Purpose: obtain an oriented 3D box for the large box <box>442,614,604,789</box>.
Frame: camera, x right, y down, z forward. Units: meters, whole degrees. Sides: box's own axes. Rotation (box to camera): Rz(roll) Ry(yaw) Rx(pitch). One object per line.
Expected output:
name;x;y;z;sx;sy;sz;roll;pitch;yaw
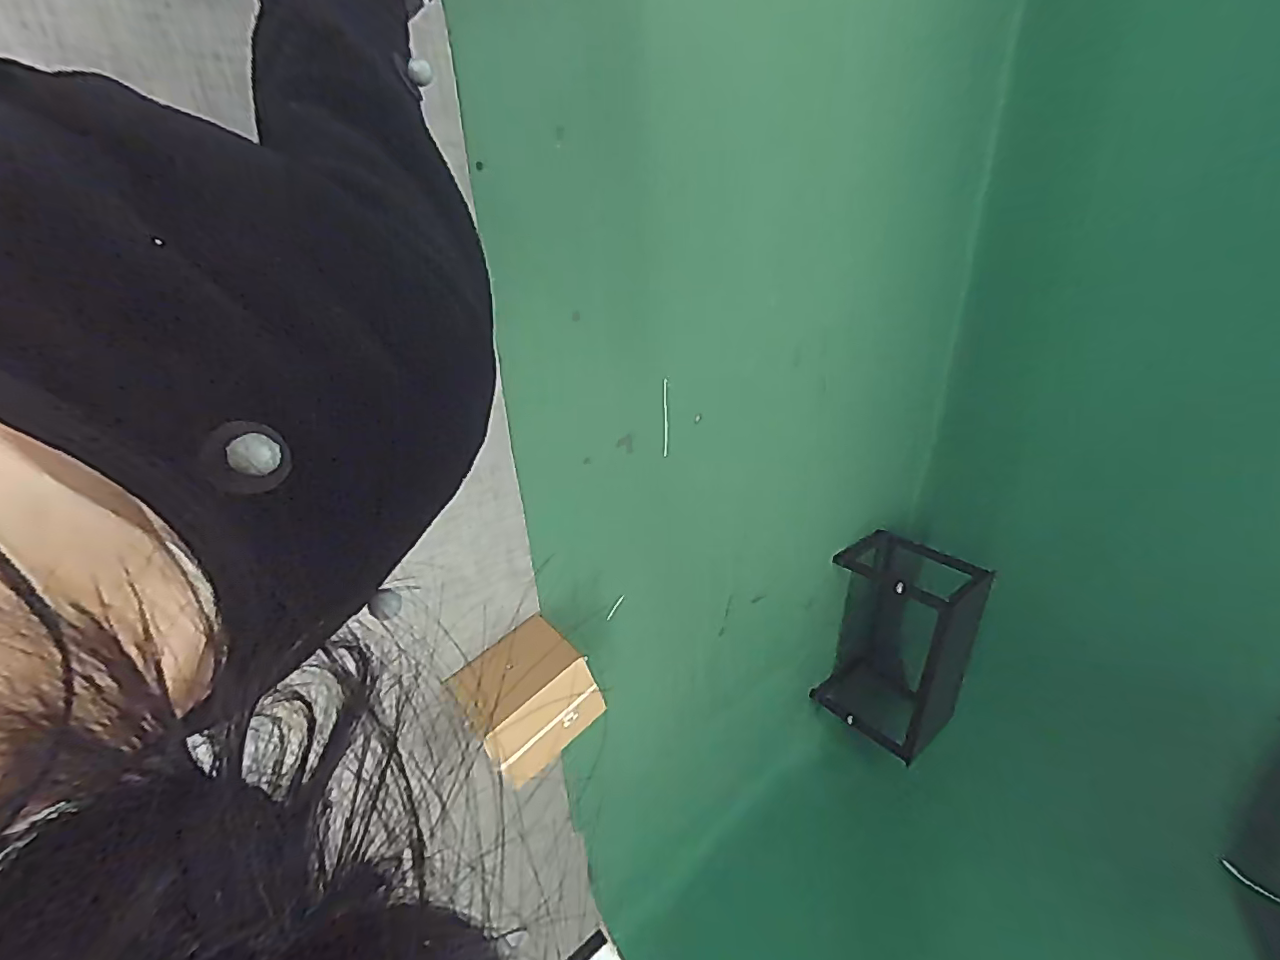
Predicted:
large box;-0.403;0.758;1.895;0.408;0.320;0.320;-35;129;-27
